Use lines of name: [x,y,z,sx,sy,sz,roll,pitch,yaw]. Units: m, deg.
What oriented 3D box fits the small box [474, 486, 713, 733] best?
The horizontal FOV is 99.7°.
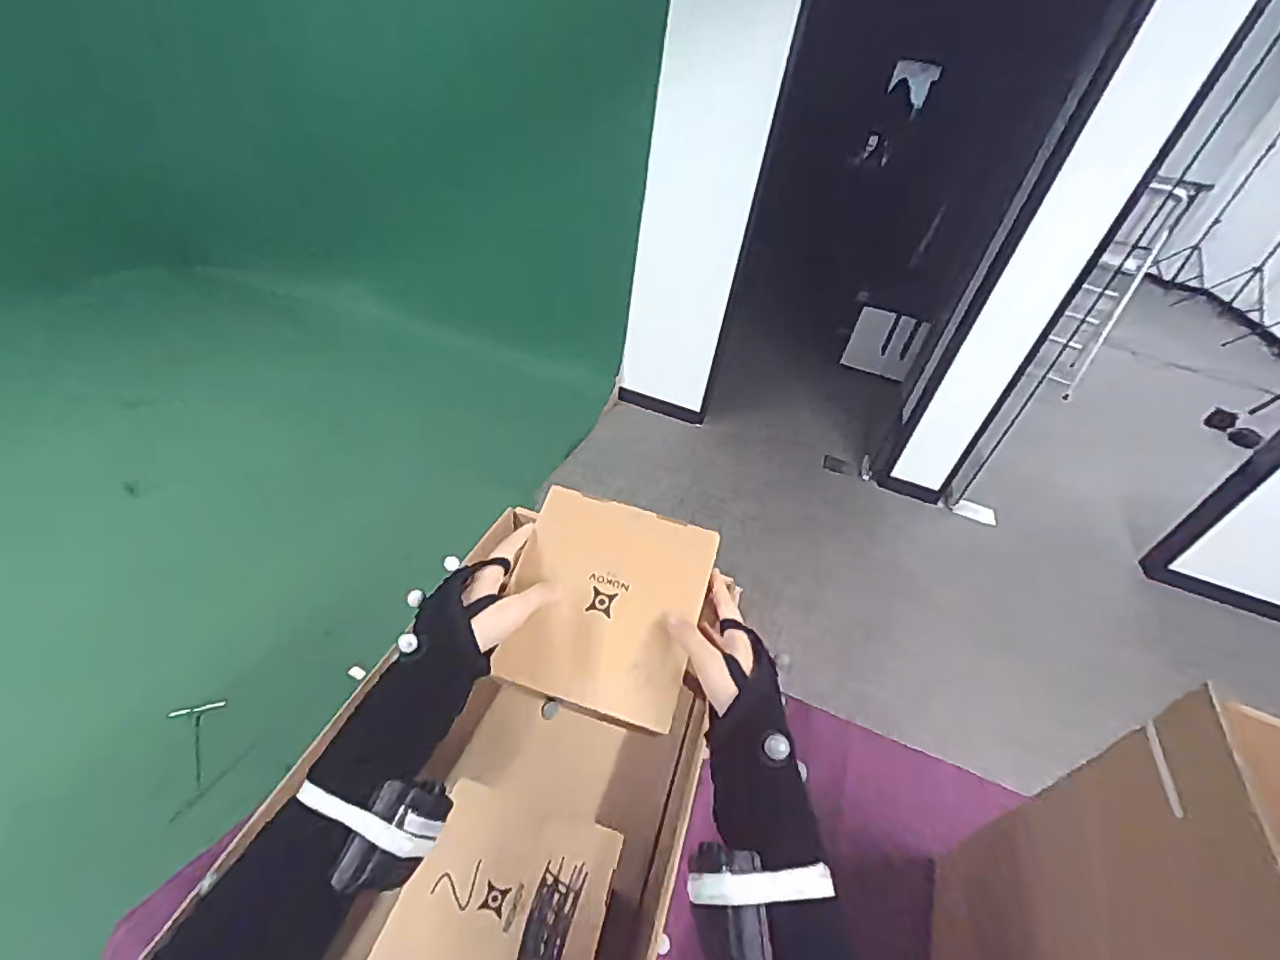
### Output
small box: [-0.035,0.137,0.539,0.168,0.176,0.179,16,63,7]
